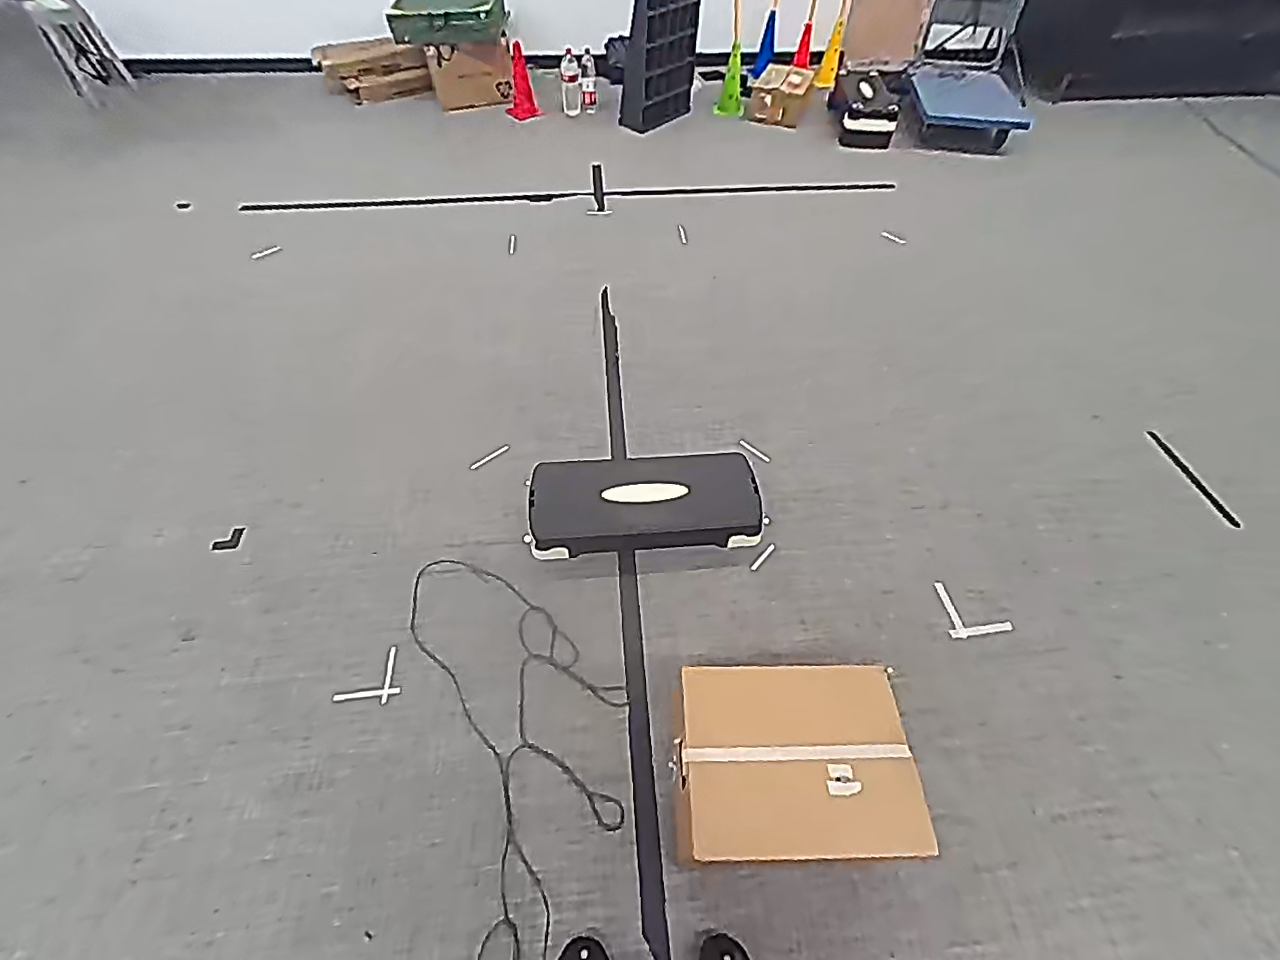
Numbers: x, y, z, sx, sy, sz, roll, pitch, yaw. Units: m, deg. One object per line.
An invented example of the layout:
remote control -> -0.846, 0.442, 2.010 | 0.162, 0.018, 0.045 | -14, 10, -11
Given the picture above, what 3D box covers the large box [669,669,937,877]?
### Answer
large box -> 0.277, 0.587, 1.078 | 0.408, 0.320, 0.320 | 0, 53, -2
